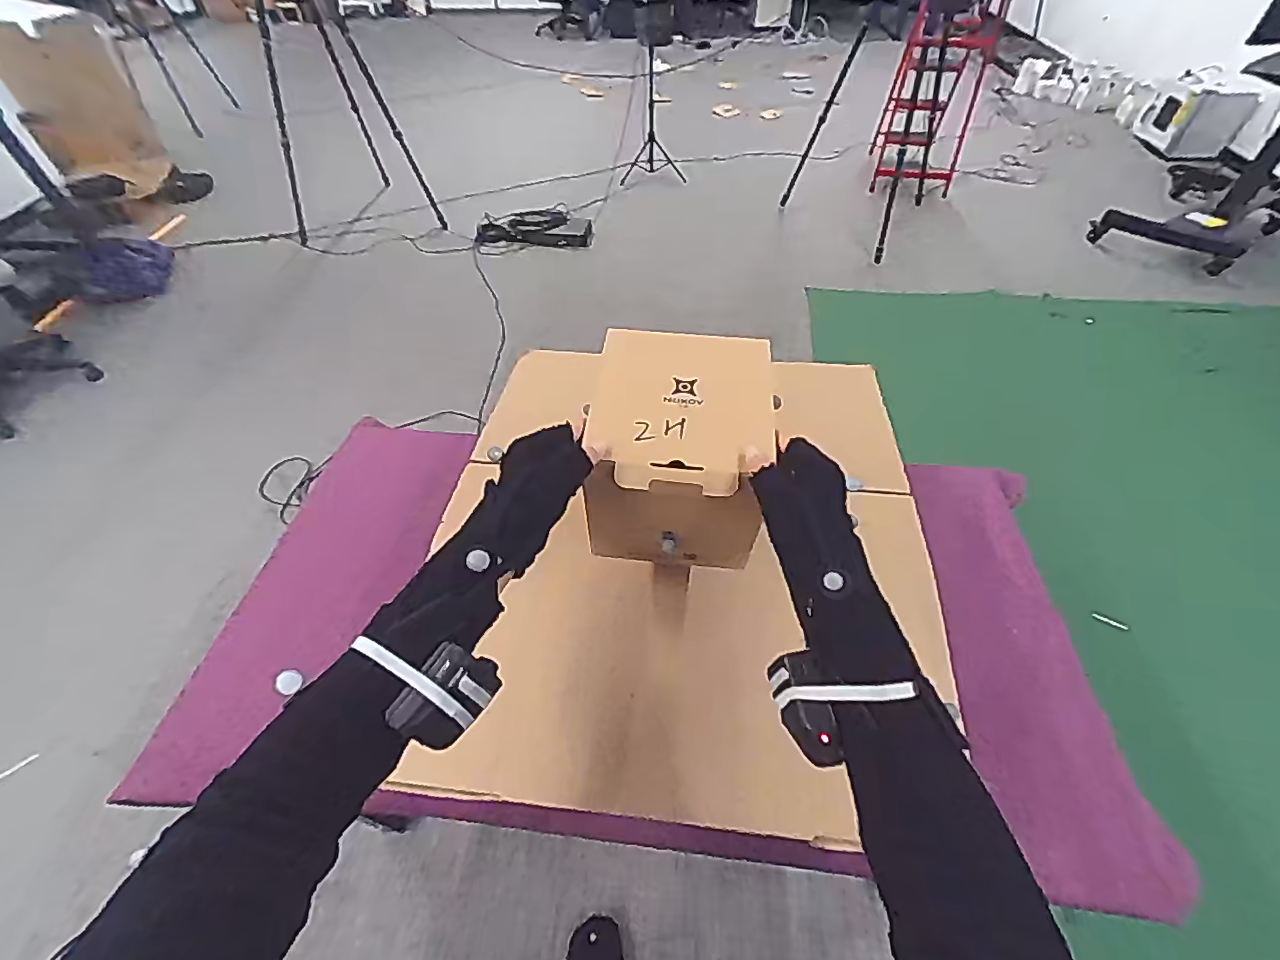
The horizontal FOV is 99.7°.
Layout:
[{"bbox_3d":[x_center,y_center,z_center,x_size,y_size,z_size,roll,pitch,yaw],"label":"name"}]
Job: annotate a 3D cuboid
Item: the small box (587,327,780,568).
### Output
[{"bbox_3d":[0.044,-0.031,0.562,0.168,0.176,0.179,6,54,4],"label":"small box"}]
